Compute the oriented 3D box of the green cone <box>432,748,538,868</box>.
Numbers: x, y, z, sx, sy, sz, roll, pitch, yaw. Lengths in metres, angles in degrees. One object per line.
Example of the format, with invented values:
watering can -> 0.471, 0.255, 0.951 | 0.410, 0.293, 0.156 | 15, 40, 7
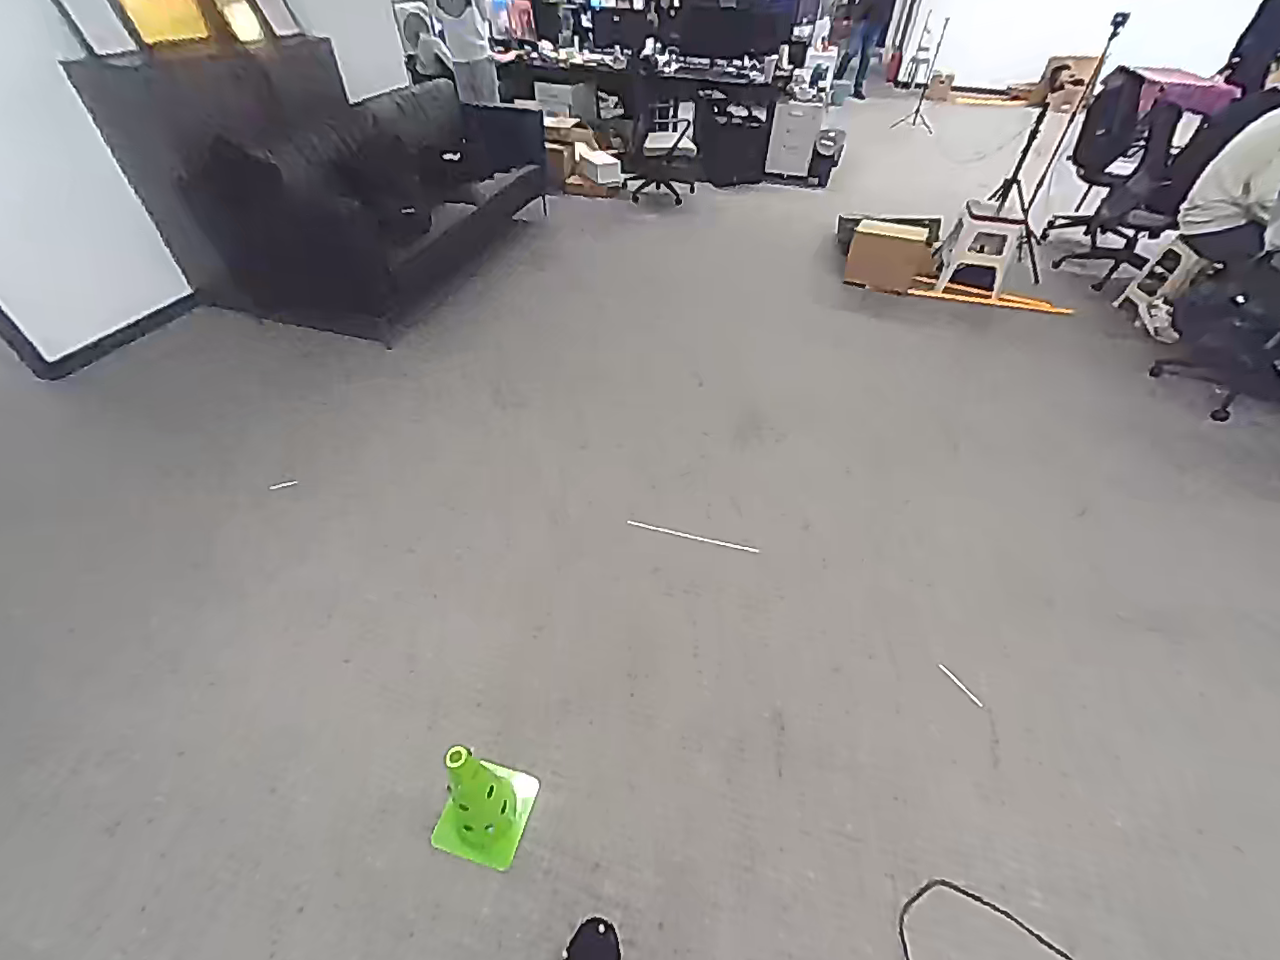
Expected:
green cone -> -0.361, 0.668, 1.173 | 0.202, 0.368, 0.200 | 12, 46, 9
